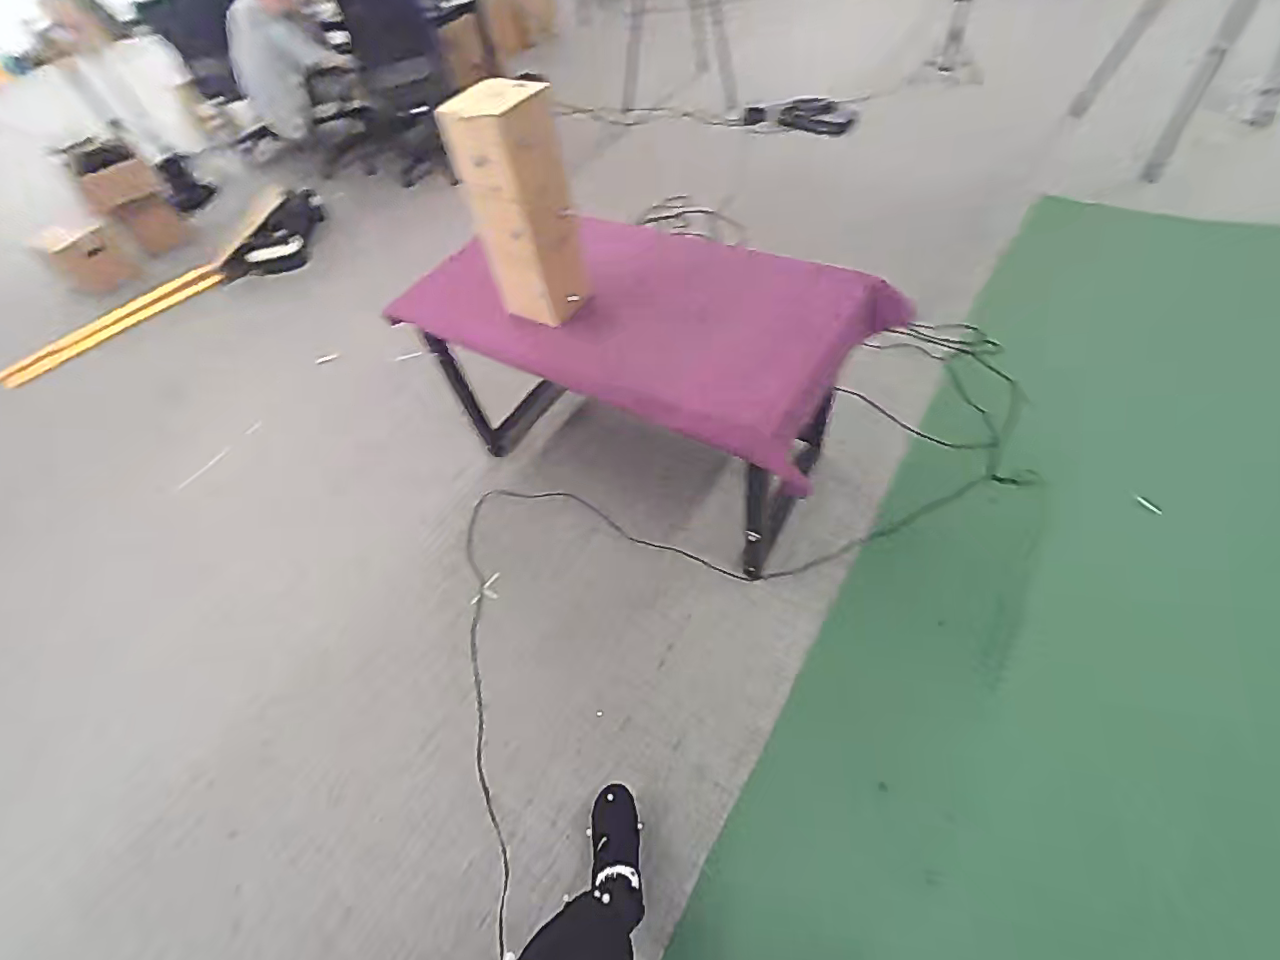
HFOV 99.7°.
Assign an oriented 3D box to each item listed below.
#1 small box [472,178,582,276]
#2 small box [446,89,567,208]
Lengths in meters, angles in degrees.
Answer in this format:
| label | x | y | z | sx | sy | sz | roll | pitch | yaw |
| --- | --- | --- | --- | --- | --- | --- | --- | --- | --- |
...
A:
| label | x | y | z | sx | sy | sz | roll | pitch | yaw |
| --- | --- | --- | --- | --- | --- | --- | --- | --- | --- |
| small box | -0.264 | -0.622 | 1.312 | 0.179 | 0.176 | 0.168 | 24 | 60 | 25 |
| small box | -0.281 | -0.725 | 1.187 | 0.168 | 0.176 | 0.179 | 23 | 60 | 23 |
